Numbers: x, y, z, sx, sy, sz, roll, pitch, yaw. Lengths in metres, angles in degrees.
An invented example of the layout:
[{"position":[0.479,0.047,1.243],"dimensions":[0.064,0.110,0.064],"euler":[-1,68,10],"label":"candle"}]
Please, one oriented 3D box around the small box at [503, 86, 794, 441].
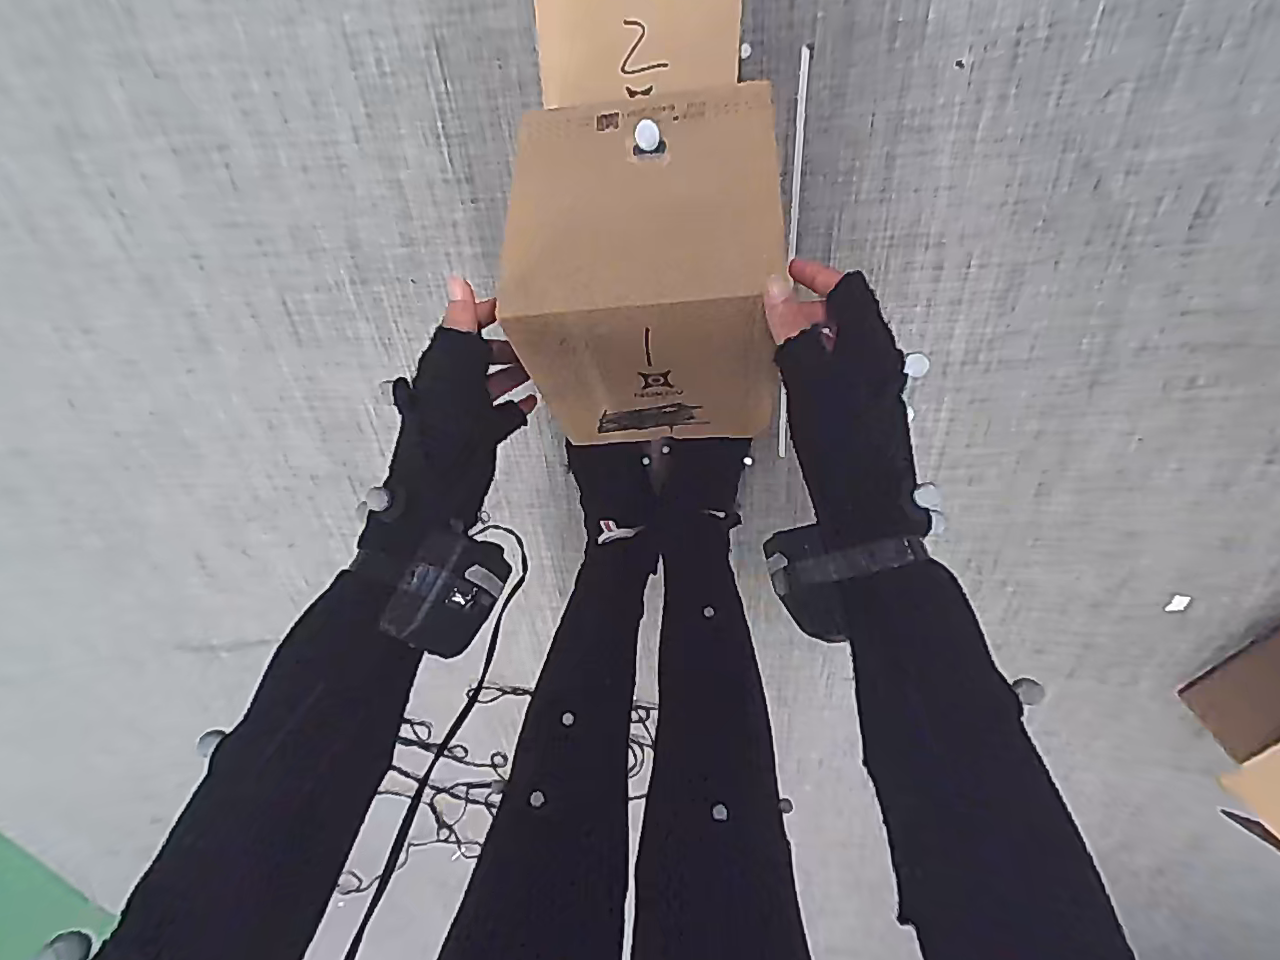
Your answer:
[{"position":[0.015,-0.142,0.401],"dimensions":[0.168,0.176,0.179],"euler":[-2,159,8],"label":"small box"}]
